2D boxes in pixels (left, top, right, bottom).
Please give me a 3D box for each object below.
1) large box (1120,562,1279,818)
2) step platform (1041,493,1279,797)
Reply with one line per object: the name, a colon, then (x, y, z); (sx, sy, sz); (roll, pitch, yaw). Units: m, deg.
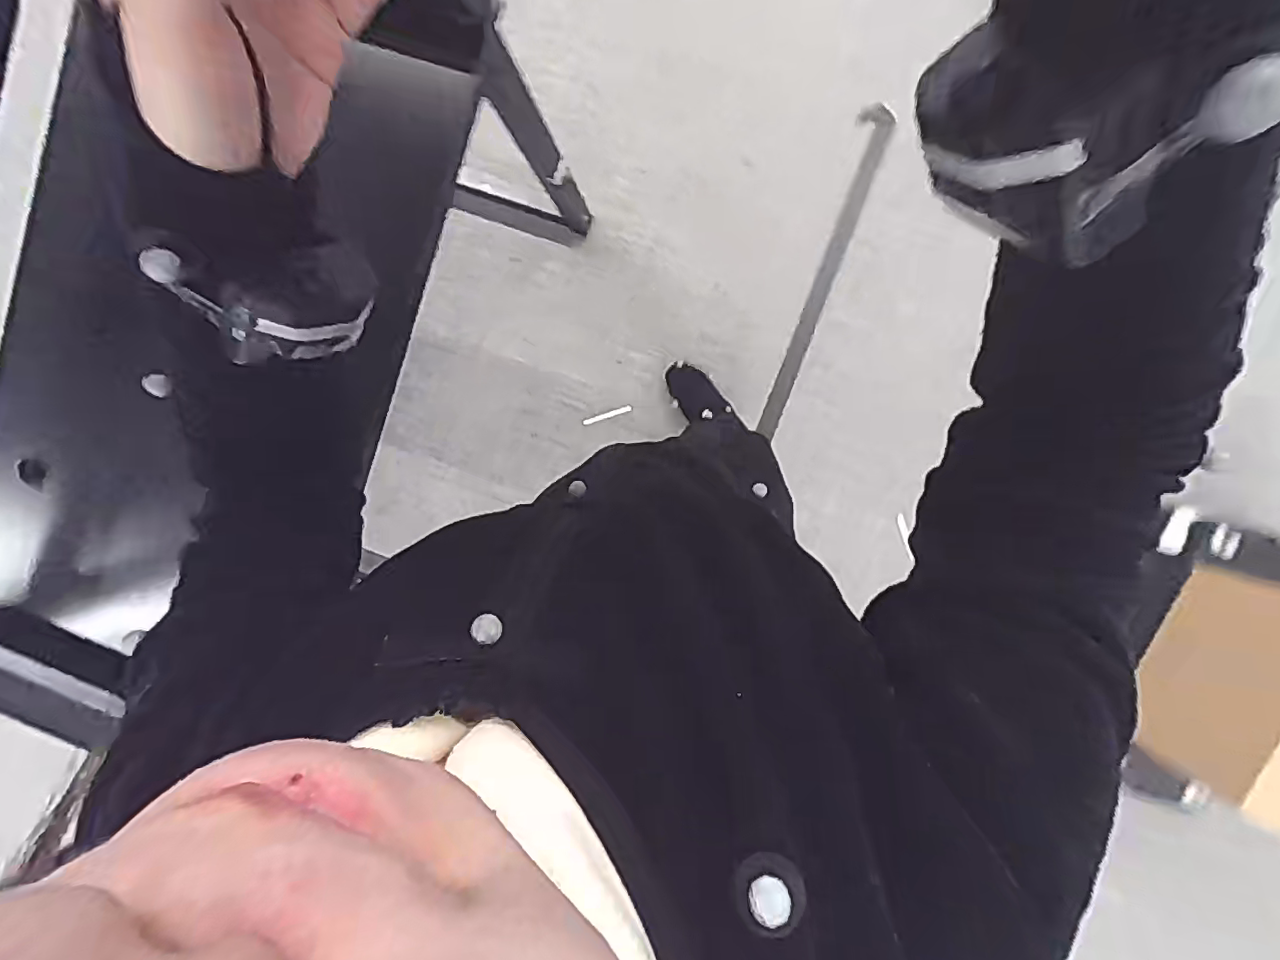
large box: (1.275, 0.426, 1.050); (0.320, 0.320, 0.408); (23, 96, 3)
step platform: (1.296, 0.383, 1.285); (0.286, 0.204, 0.684); (25, 96, 3)
